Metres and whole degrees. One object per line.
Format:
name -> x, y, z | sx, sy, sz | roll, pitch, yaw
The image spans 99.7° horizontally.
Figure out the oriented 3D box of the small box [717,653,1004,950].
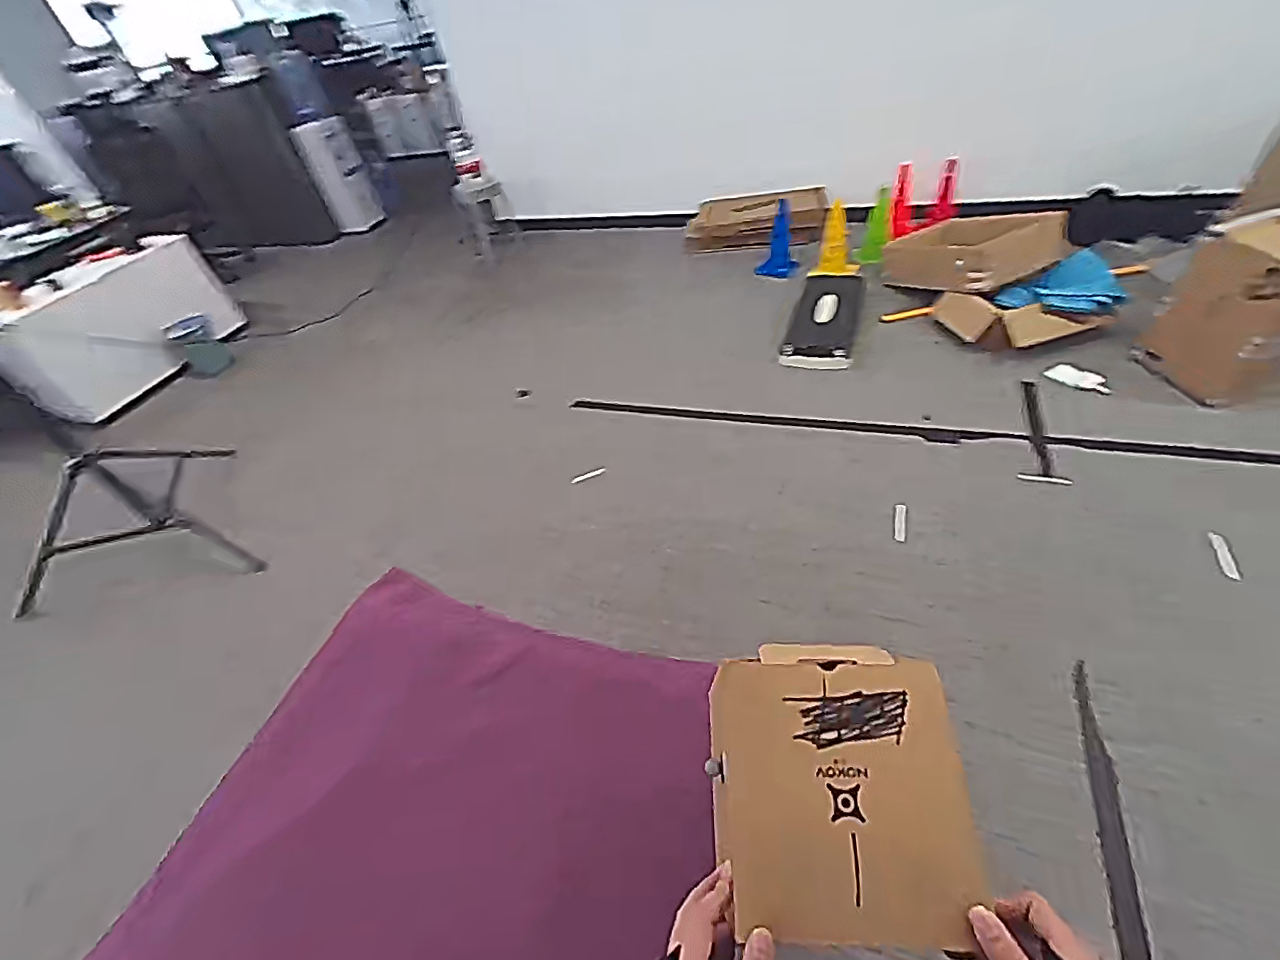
small box -> 0.153, 0.254, 0.450 | 0.168, 0.176, 0.179 | 0, 61, 4
